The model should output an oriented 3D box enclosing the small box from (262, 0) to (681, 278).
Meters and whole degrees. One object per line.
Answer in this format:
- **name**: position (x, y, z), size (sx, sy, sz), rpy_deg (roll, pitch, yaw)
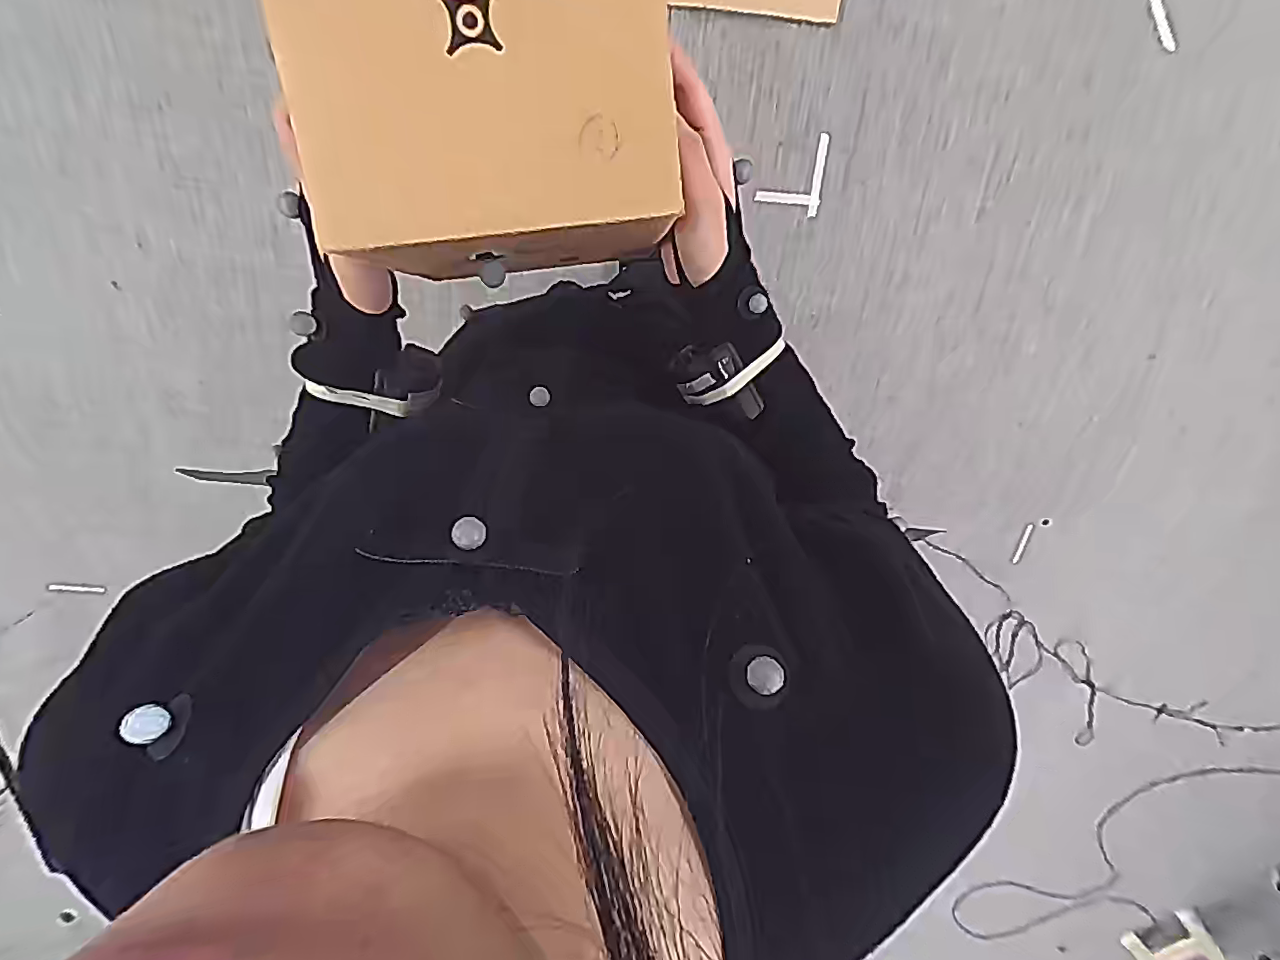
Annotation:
- **small box**: position (-0.073, -0.213, 0.298), size (0.168, 0.176, 0.179), rpy_deg (-7, 105, -2)
